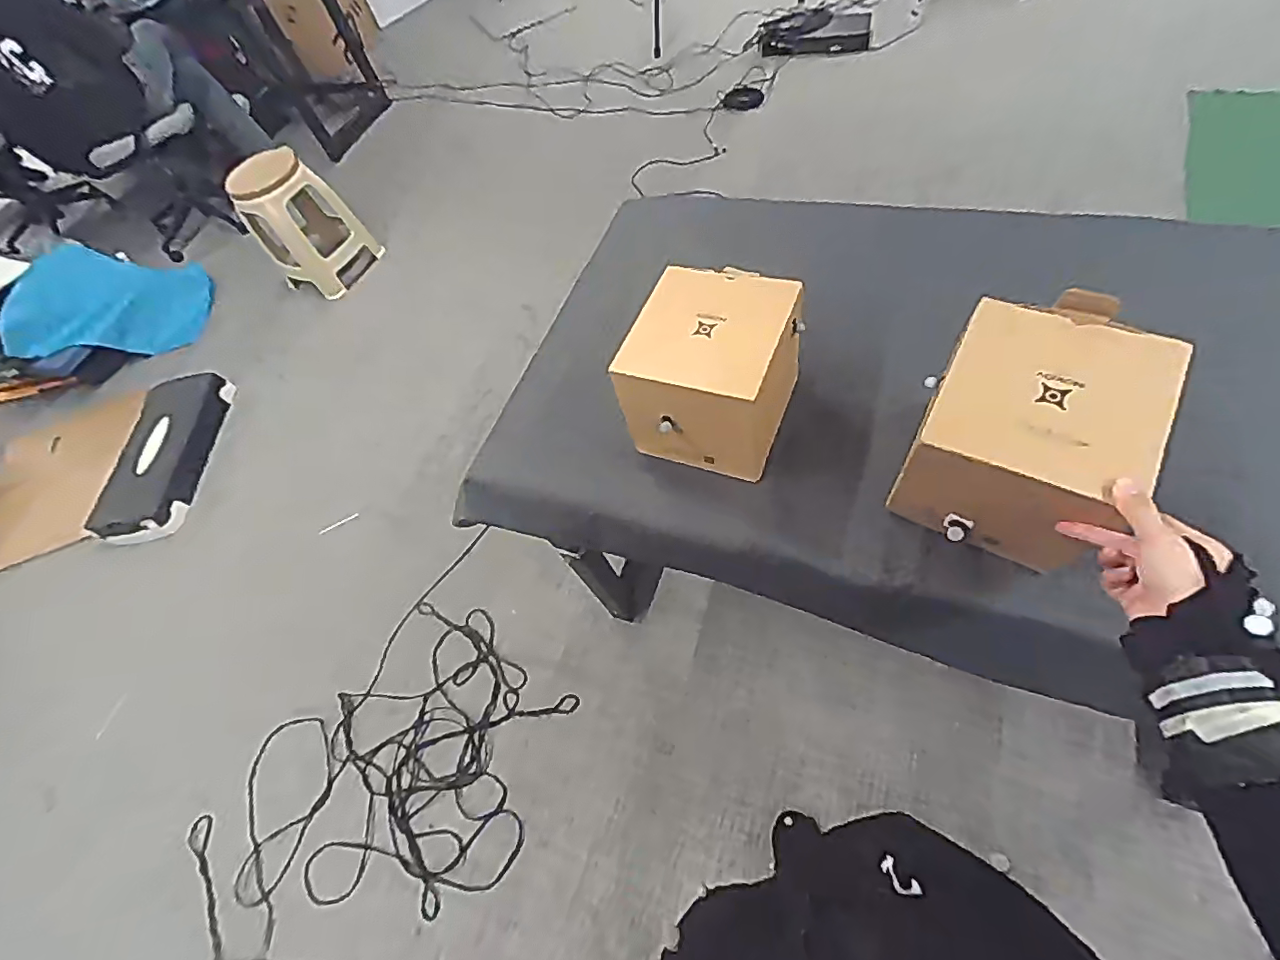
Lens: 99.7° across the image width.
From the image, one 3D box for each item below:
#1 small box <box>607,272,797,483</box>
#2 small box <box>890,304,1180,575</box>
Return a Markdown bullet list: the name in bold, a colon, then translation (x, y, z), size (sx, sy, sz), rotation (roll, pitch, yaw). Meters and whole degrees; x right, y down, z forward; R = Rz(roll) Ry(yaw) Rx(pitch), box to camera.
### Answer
- **small box**: translation (0.085, -0.121, 0.656), size (0.168, 0.176, 0.179), rotation (15, 62, 21)
- **small box**: translation (0.364, -0.034, 0.530), size (0.168, 0.176, 0.179), rotation (22, 70, 23)
